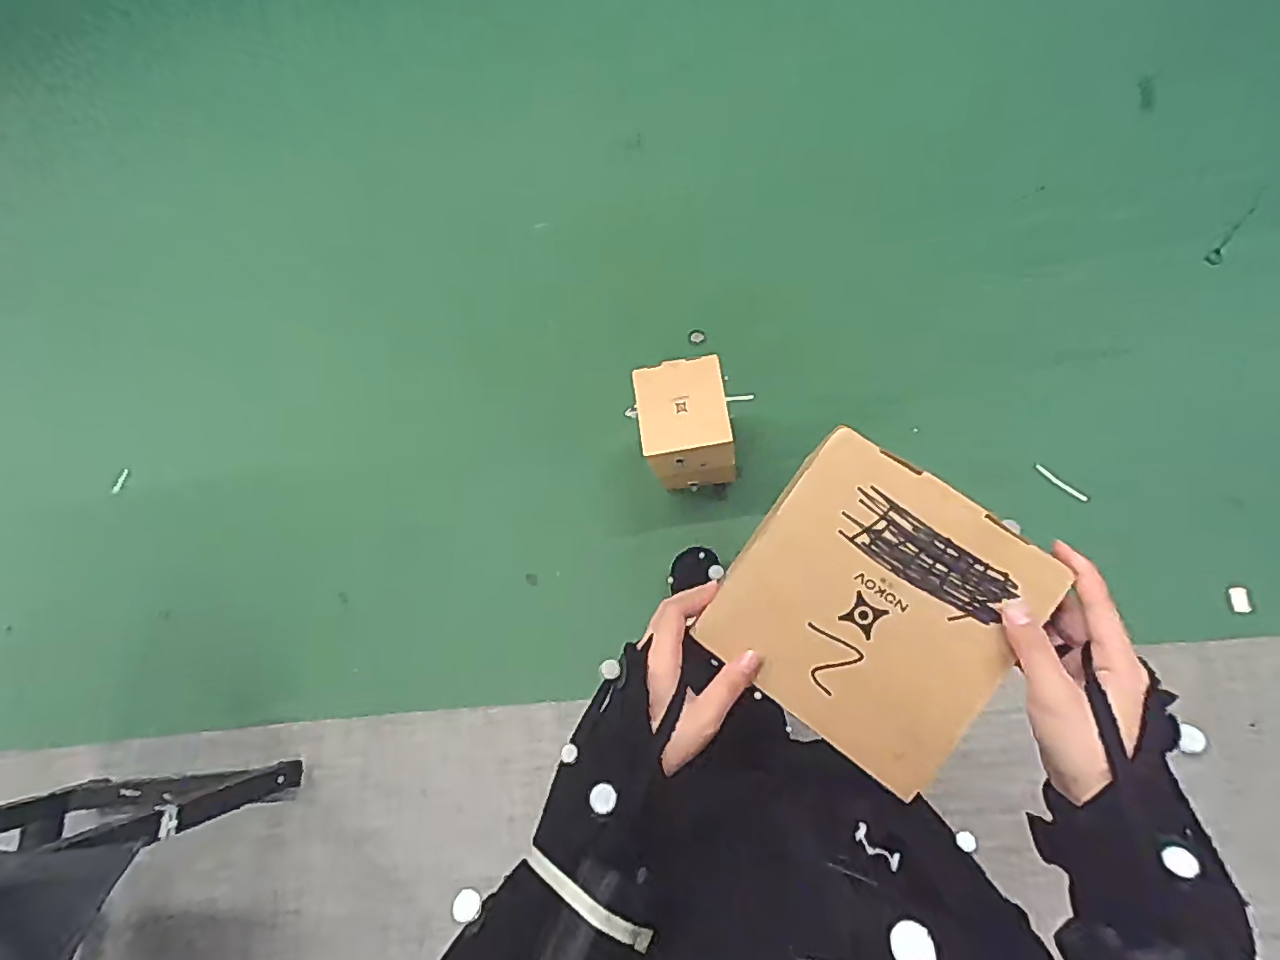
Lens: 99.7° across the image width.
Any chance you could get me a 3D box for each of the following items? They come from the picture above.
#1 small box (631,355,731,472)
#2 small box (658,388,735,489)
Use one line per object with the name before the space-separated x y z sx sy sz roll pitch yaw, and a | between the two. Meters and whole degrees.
small box | 0.086 -0.120 1.068 0.168 0.176 0.179 -10 75 7
small box | 0.119 -0.089 1.225 0.168 0.176 0.179 -9 77 7
